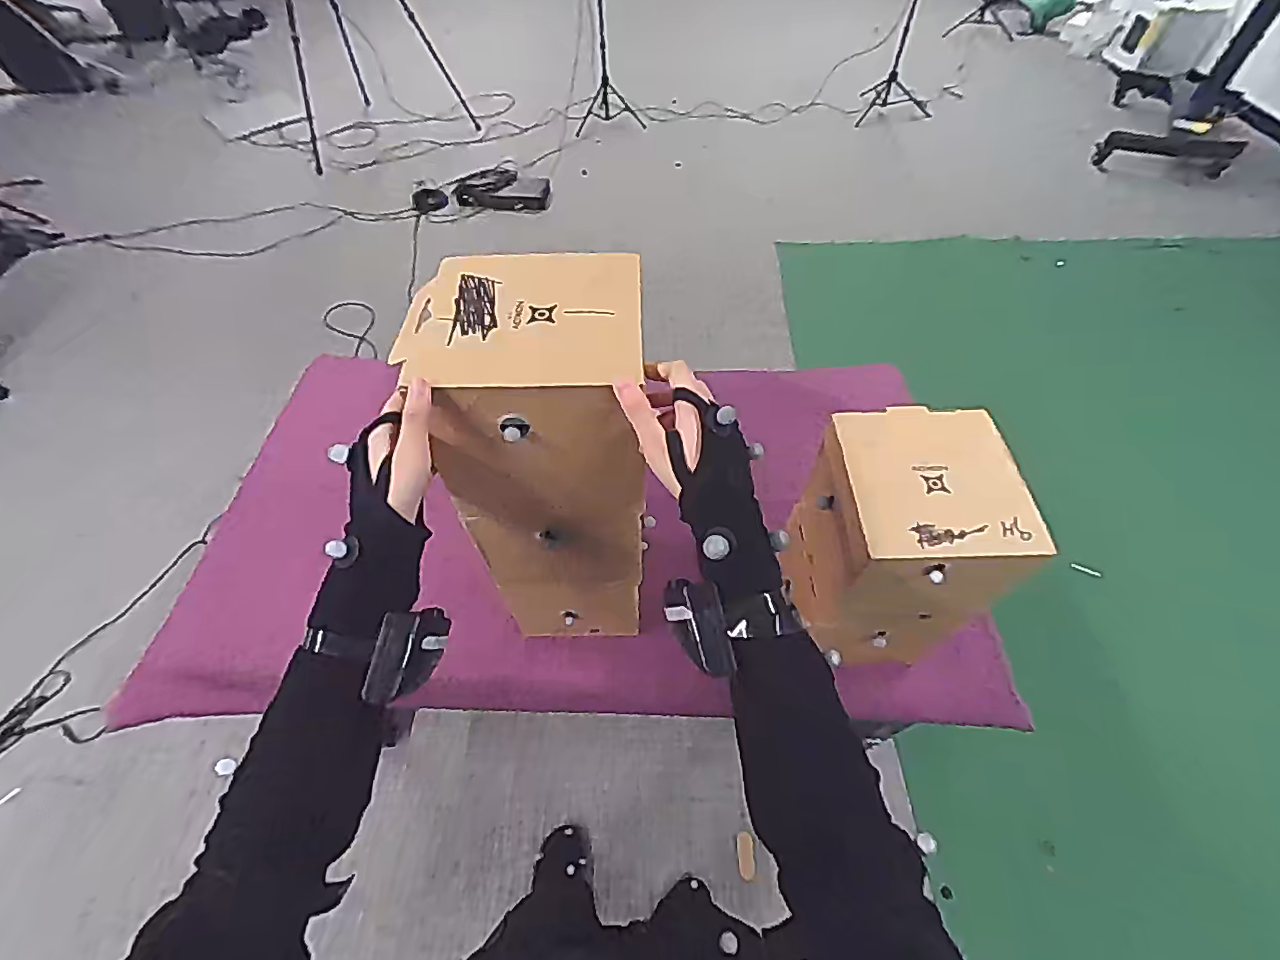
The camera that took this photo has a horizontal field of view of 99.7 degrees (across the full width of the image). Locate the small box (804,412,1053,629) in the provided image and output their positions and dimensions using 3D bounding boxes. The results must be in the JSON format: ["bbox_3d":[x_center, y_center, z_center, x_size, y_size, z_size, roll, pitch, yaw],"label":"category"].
[{"bbox_3d":[0.287,0.048,0.592,0.168,0.176,0.179,-3,54,3],"label":"small box"}]

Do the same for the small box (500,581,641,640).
[{"bbox_3d":[-0.085,0.117,0.765,0.168,0.176,0.179,-1,53,2],"label":"small box"}]

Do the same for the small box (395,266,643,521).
[{"bbox_3d":[-0.089,-0.073,0.497,0.179,0.176,0.168,-2,53,1],"label":"small box"}]

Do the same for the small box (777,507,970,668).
[{"bbox_3d":[0.293,0.145,0.725,0.179,0.176,0.168,-3,55,3],"label":"small box"}]

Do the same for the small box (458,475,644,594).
[{"bbox_3d":[-0.087,0.025,0.631,0.179,0.176,0.168,-1,54,2],"label":"small box"}]
